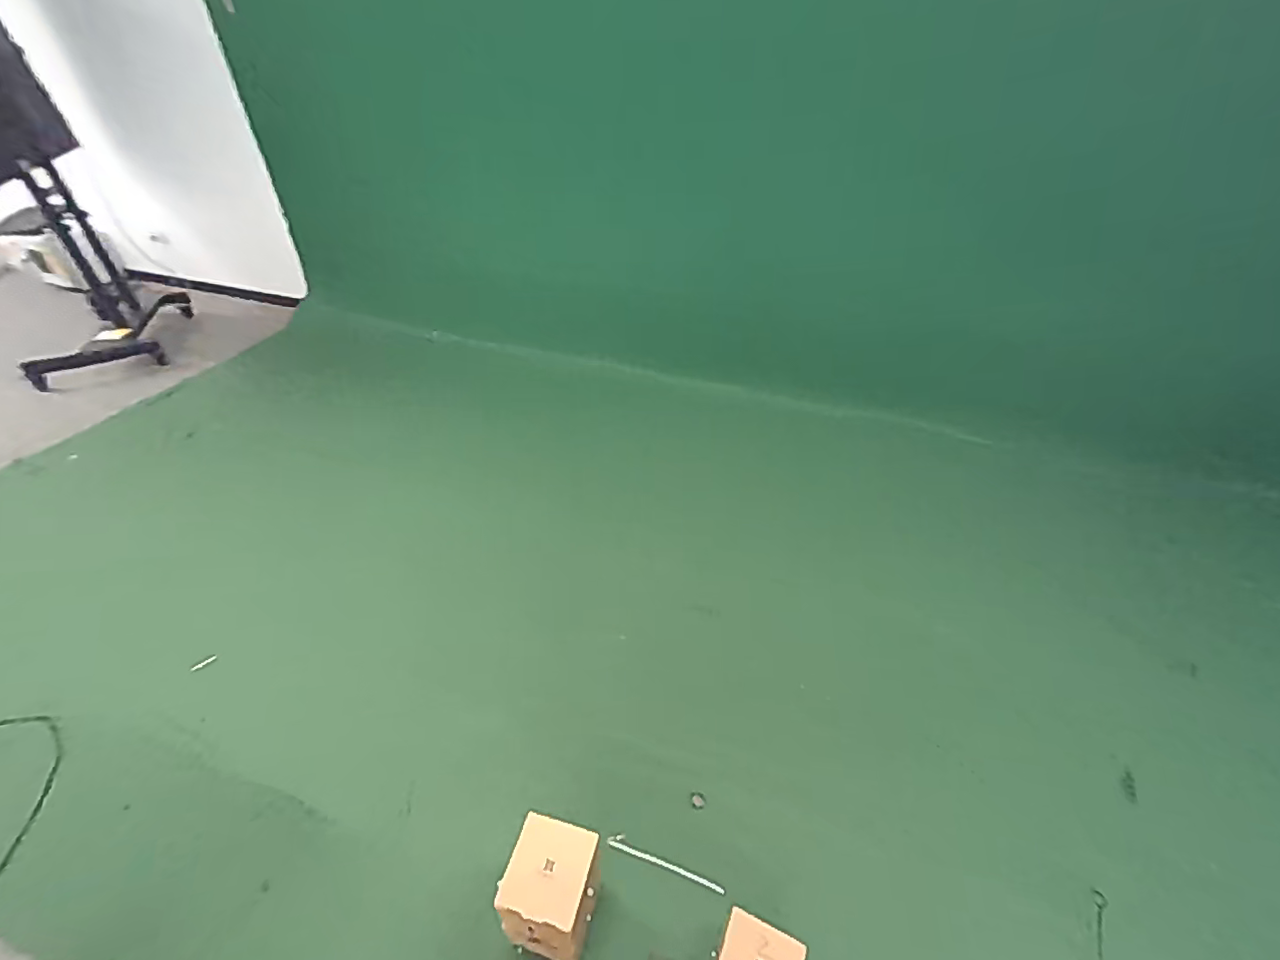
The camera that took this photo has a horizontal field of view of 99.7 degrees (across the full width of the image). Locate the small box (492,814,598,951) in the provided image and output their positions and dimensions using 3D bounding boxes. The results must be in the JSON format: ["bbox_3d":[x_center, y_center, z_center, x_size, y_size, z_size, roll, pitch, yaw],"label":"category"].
[{"bbox_3d":[-0.196,0.863,1.160,0.168,0.176,0.179,12,41,11],"label":"small box"}]

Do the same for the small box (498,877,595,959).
[{"bbox_3d":[-0.206,0.992,1.259,0.168,0.176,0.179,12,40,12],"label":"small box"}]
